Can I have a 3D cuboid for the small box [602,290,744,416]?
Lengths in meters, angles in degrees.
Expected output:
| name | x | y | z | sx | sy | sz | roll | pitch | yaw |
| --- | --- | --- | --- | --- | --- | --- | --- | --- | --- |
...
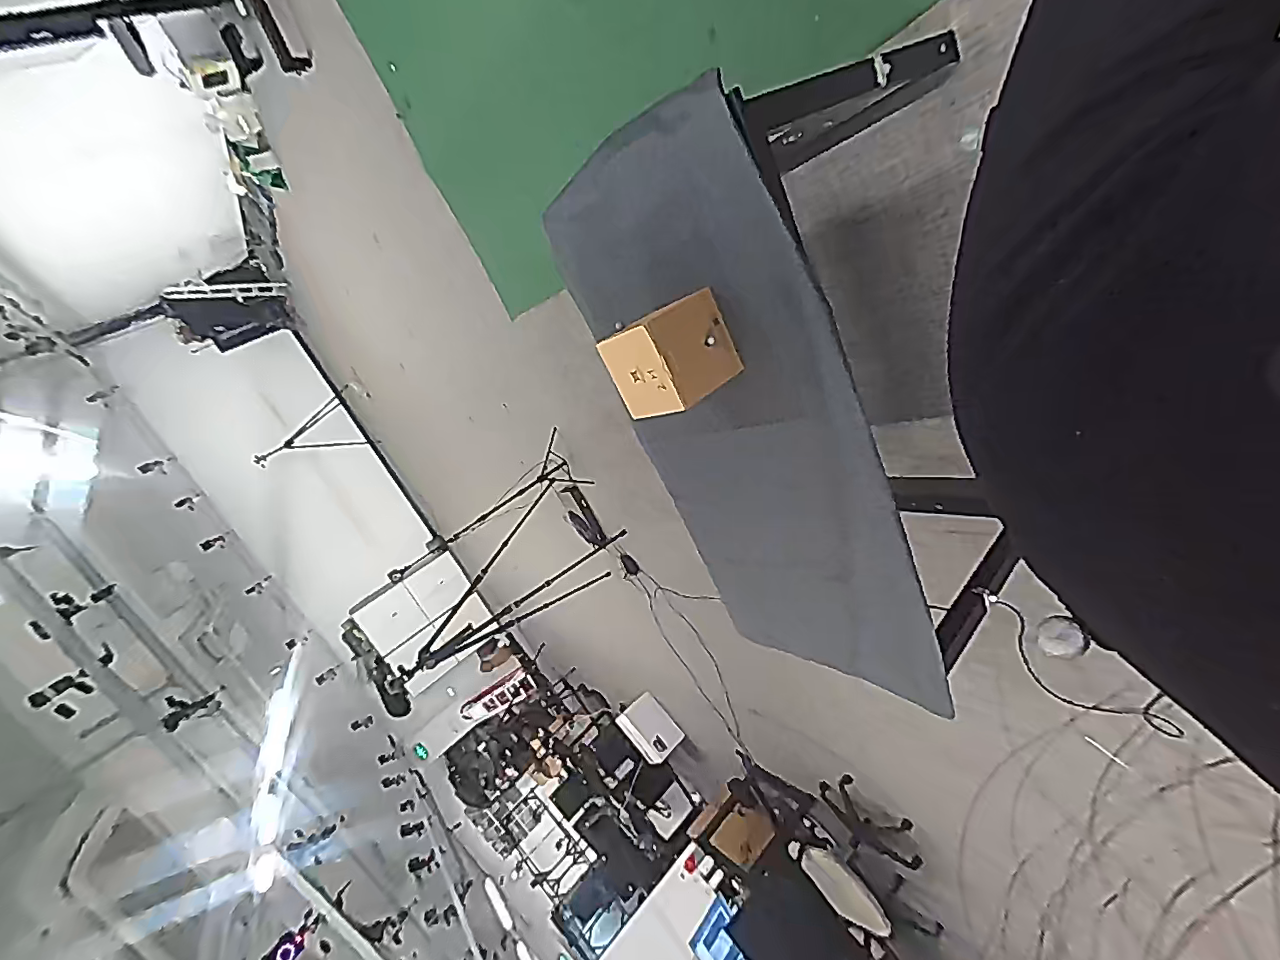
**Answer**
| name | x | y | z | sx | sy | sz | roll | pitch | yaw |
| --- | --- | --- | --- | --- | --- | --- | --- | --- | --- |
| small box | 0.064 | -0.237 | 1.028 | 0.179 | 0.176 | 0.168 | 0 | 122 | 57 |
